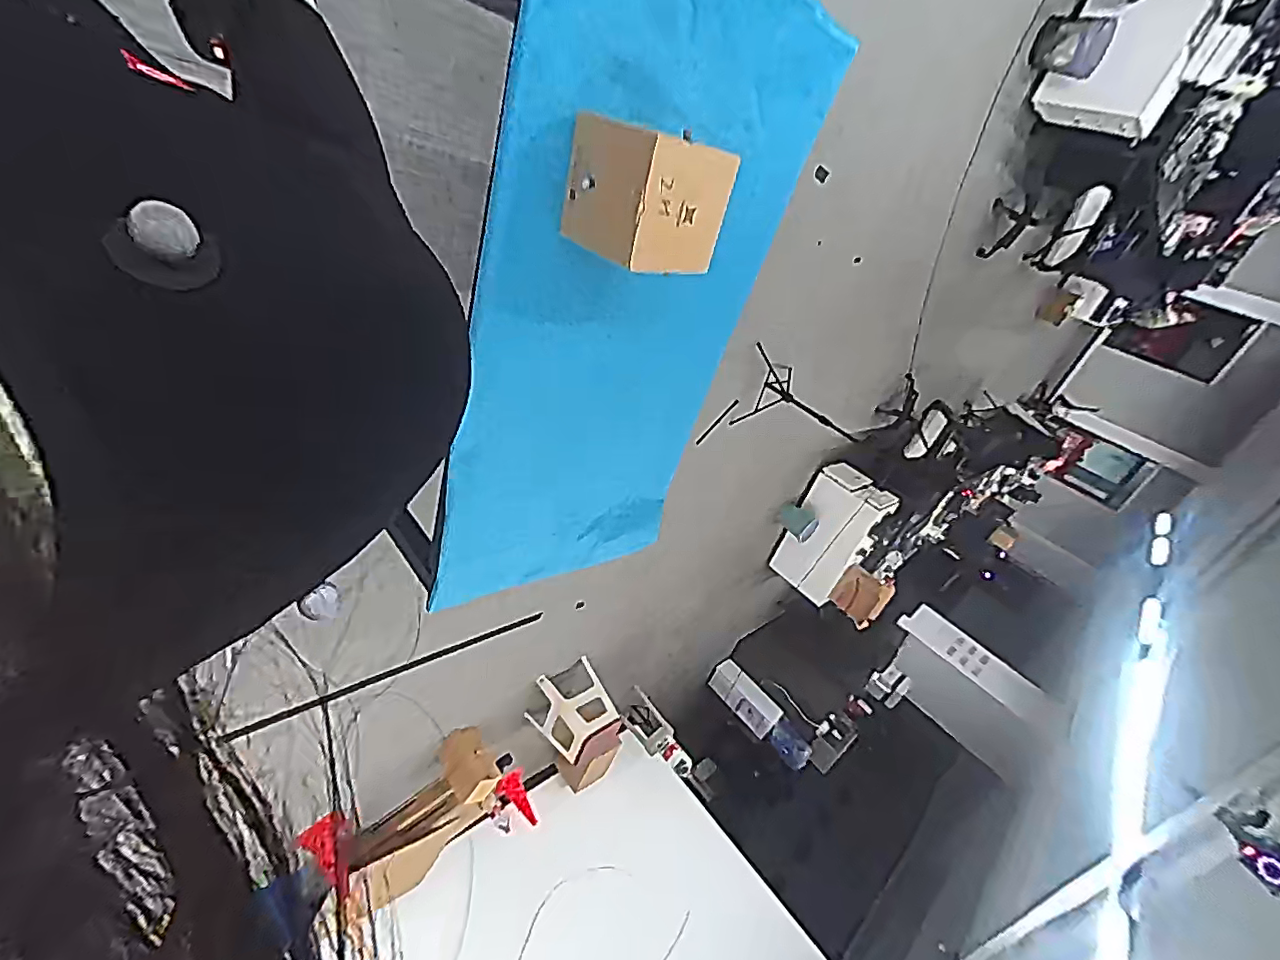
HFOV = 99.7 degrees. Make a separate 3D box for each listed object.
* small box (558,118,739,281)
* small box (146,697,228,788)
[{"bbox_3d":[0.007,-0.412,0.801,0.179,0.176,0.168,-12,131,-41],"label":"small box"},{"bbox_3d":[-1.422,0.811,1.698,0.168,0.176,0.179,-13,134,-43],"label":"small box"}]
